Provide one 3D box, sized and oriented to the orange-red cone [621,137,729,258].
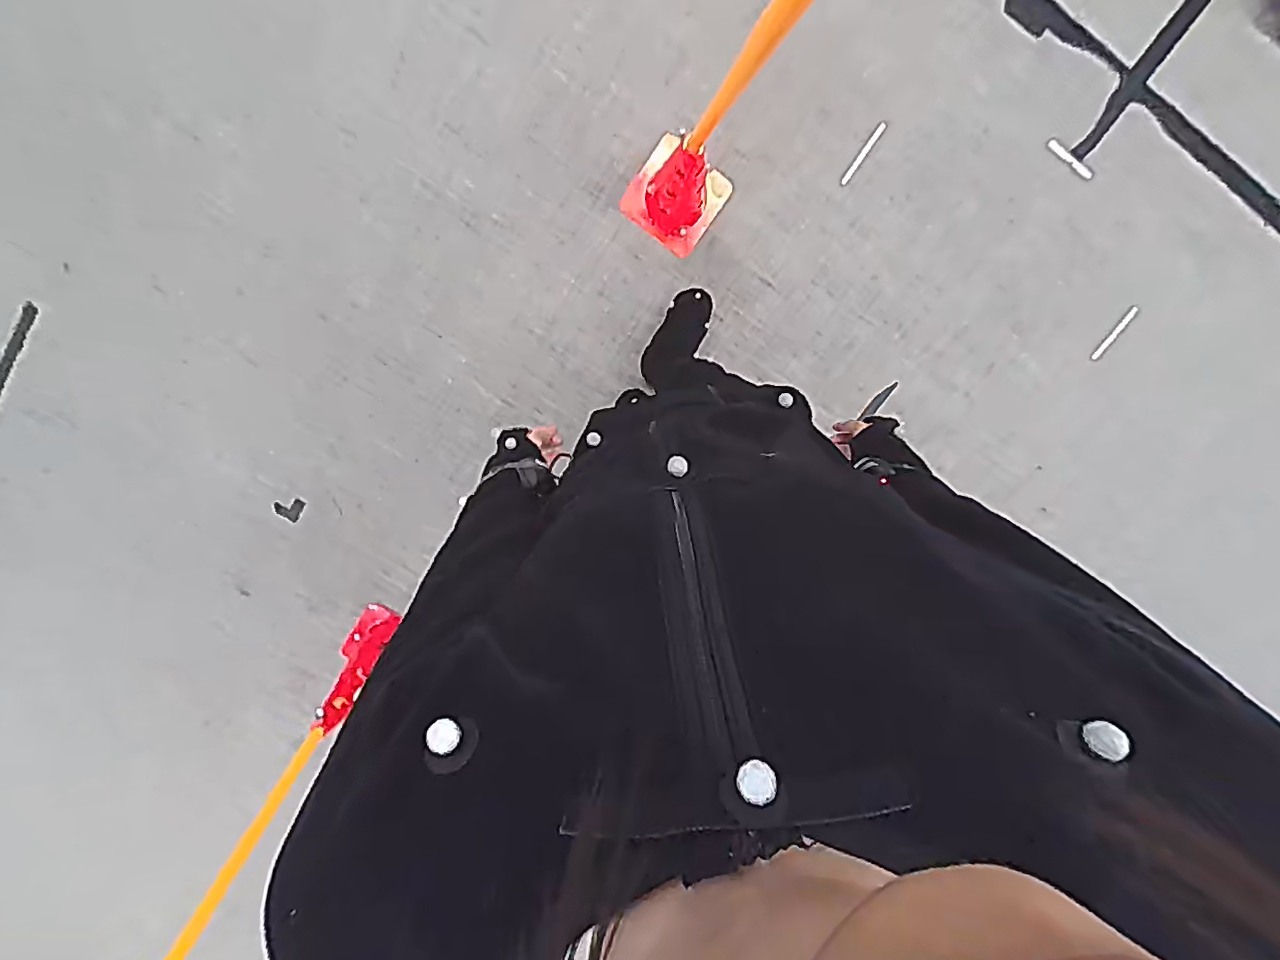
[{"bbox_3d":[0.087,-0.608,1.088,0.198,0.360,0.199,36,100,-10],"label":"orange-red cone"}]
